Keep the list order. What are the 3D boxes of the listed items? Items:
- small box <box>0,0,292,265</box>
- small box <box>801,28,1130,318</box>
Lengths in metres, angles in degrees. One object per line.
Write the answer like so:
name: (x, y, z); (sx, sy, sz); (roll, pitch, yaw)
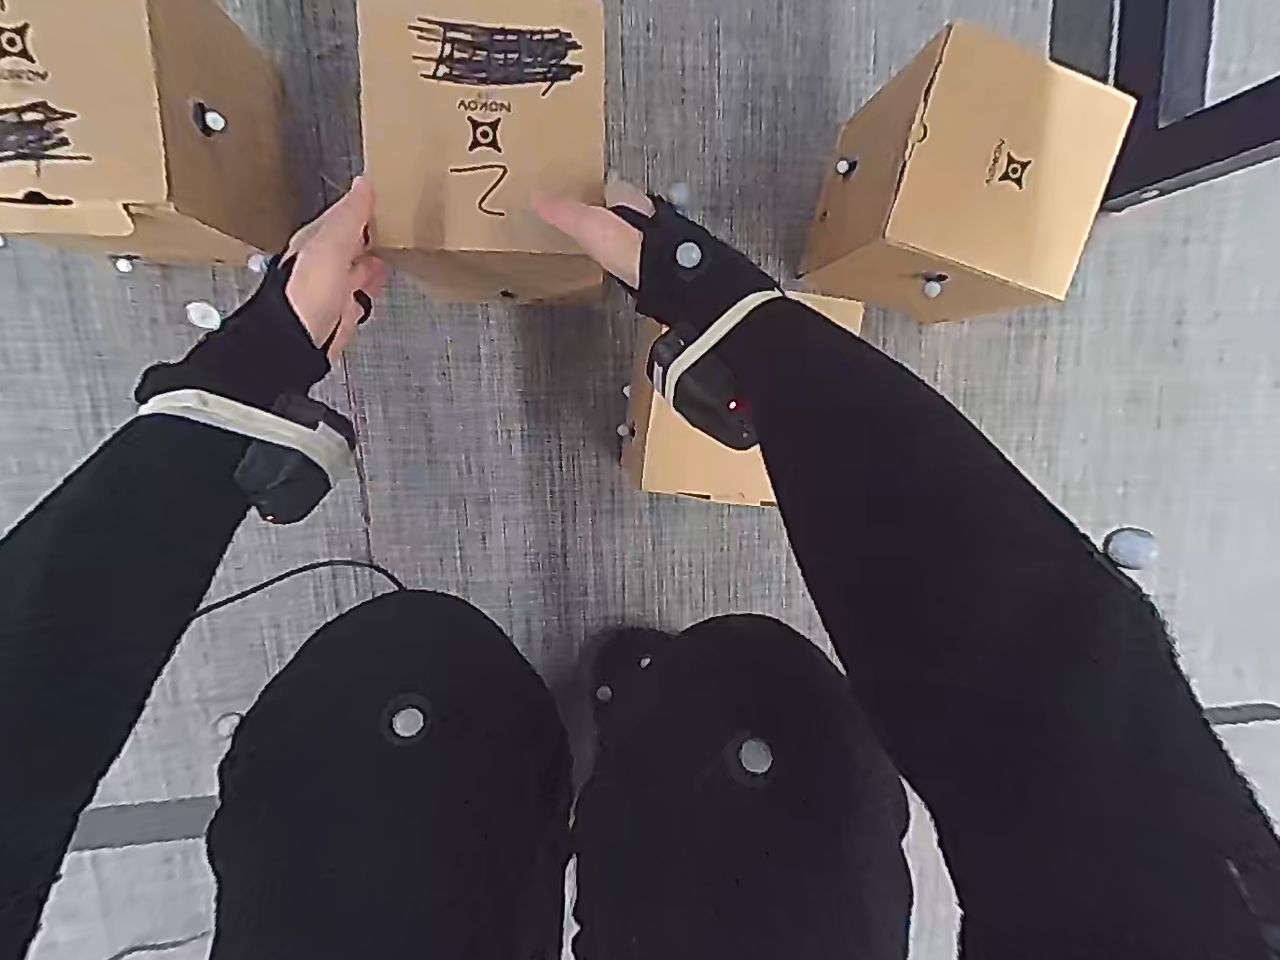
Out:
small box: (-0.399, -0.275, 0.419); (0.168, 0.176, 0.179); (-2, 98, -8)
small box: (0.285, -0.262, 0.514); (0.179, 0.176, 0.168); (14, 97, -9)
